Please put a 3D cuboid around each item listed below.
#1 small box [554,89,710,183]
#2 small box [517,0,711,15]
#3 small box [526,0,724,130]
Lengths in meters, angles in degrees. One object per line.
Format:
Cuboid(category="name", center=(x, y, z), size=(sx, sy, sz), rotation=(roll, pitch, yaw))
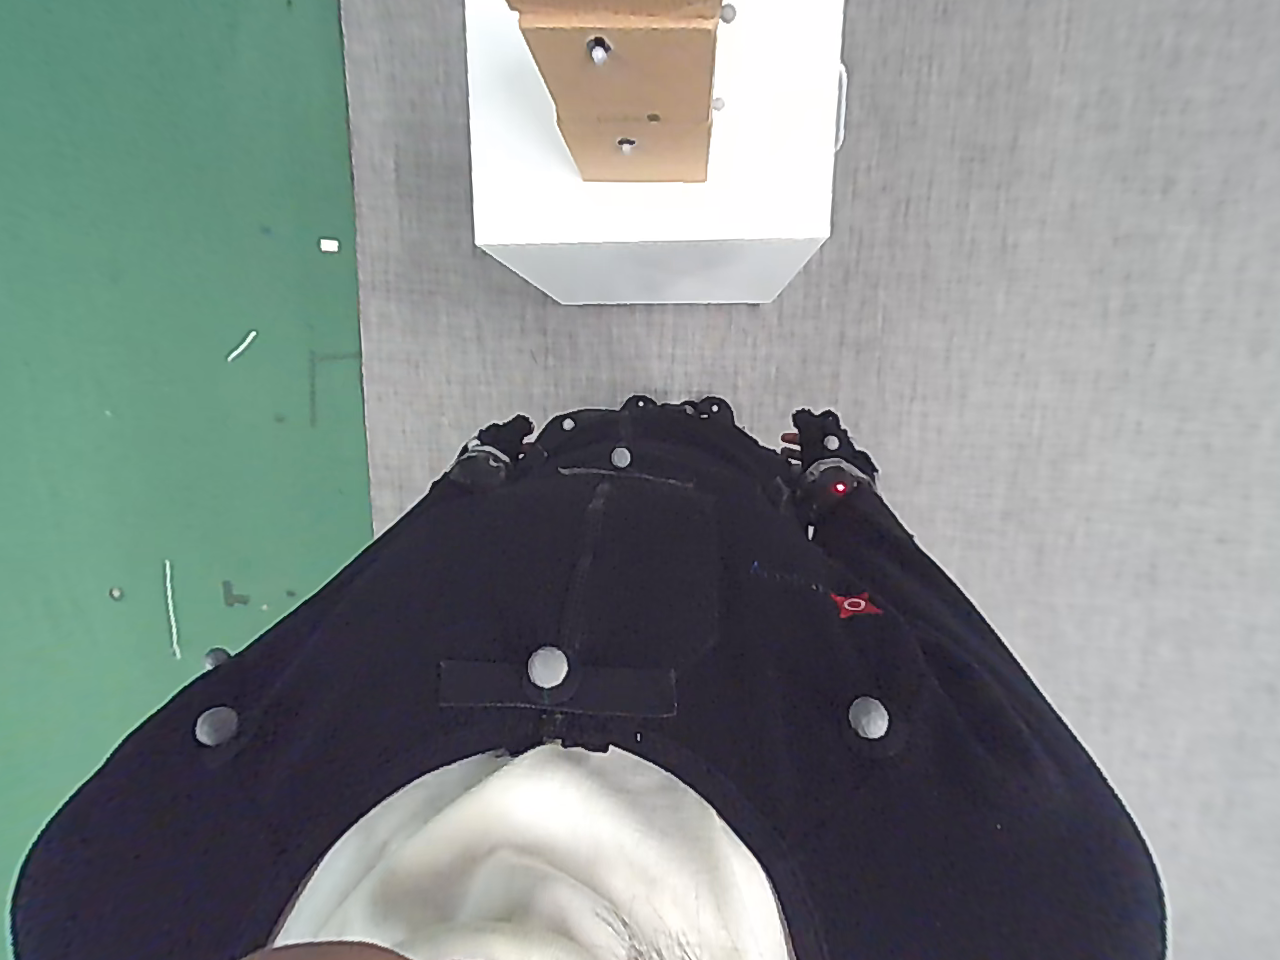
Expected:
Cuboid(category="small box", center=(0.000, -0.488, 0.672), size=(0.179, 0.176, 0.168), rotation=(3, 99, 4))
Cuboid(category="small box", center=(-0.024, -0.446, 0.350), size=(0.179, 0.176, 0.168), rotation=(5, 101, 4))
Cuboid(category="small box", center=(-0.007, -0.467, 0.513), size=(0.168, 0.176, 0.179), rotation=(1, 99, 4))
